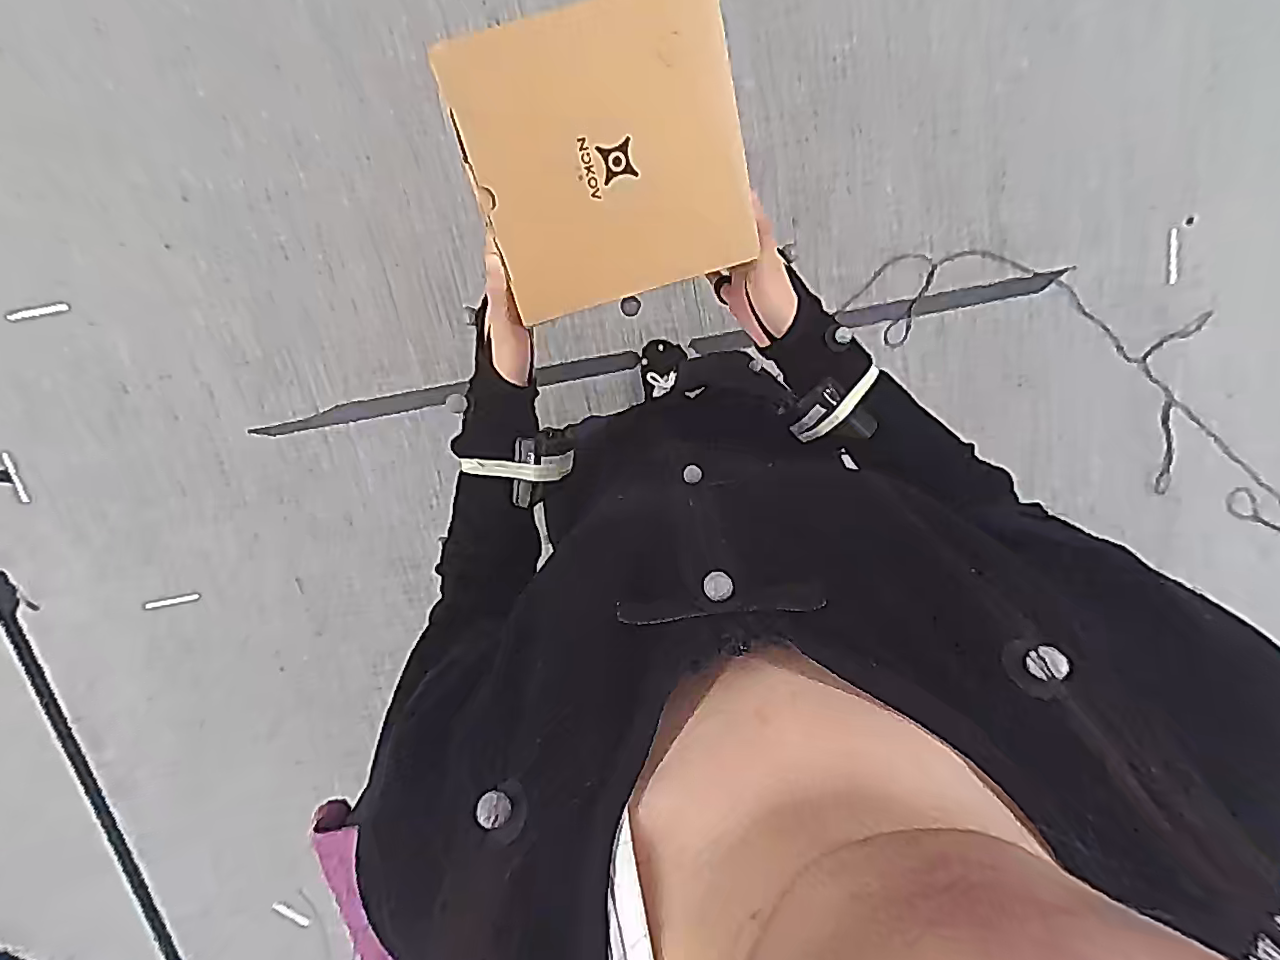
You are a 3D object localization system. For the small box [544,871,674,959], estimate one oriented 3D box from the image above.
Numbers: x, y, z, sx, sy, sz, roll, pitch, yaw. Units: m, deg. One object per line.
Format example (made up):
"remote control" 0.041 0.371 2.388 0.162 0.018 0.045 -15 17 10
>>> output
"small box" -0.042 0.740 0.814 0.179 0.176 0.168 -13 102 0

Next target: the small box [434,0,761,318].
"small box" -0.027 -0.239 0.416 0.179 0.176 0.168 -17 114 1
